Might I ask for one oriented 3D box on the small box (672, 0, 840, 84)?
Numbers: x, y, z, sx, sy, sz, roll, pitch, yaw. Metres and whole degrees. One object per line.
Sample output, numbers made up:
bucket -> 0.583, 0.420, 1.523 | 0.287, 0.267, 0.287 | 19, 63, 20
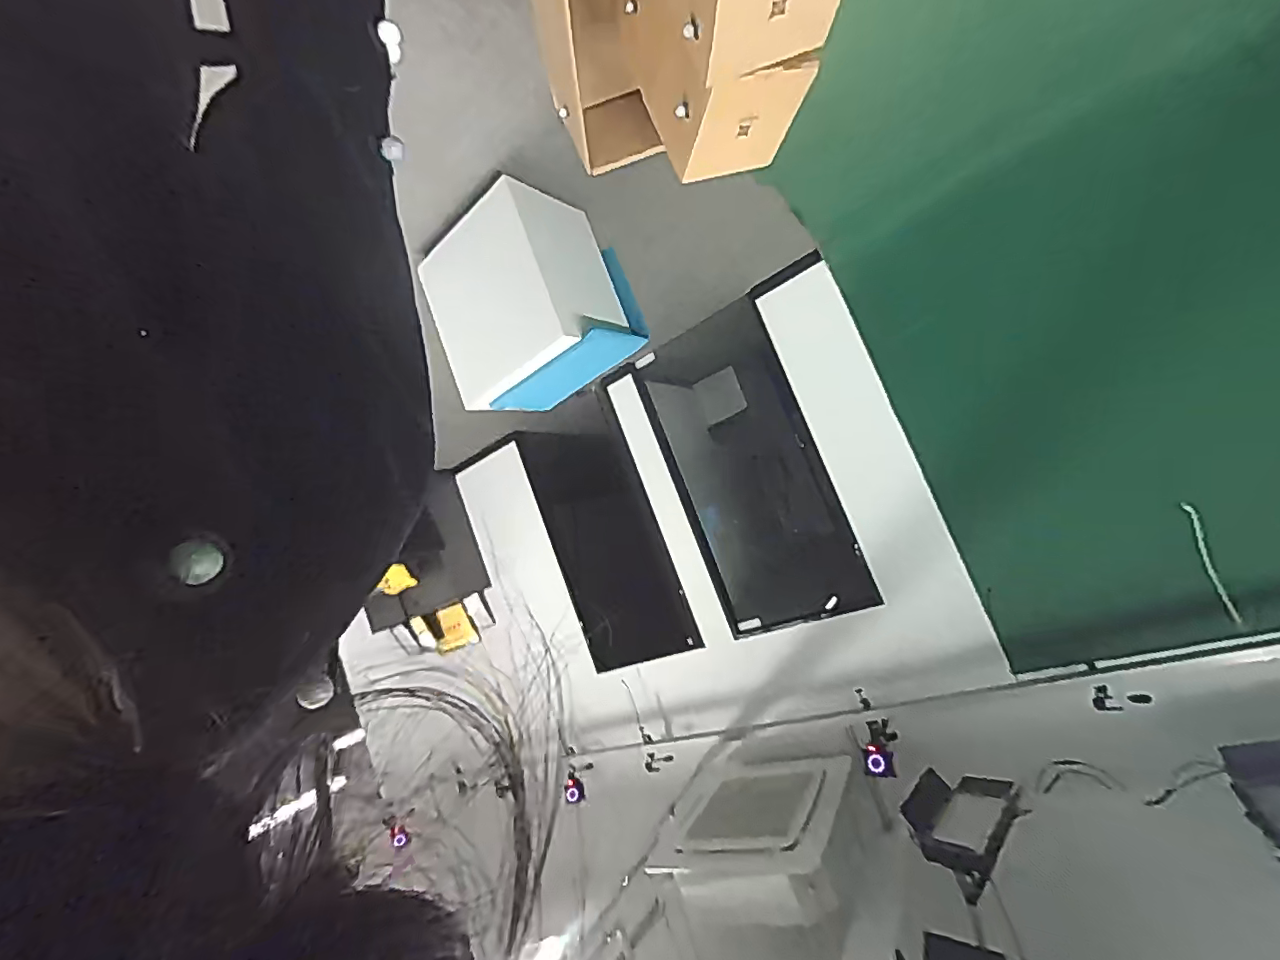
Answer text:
small box -> 0.128, -0.609, 0.606 | 0.168, 0.176, 0.179 | -22, 173, -2
